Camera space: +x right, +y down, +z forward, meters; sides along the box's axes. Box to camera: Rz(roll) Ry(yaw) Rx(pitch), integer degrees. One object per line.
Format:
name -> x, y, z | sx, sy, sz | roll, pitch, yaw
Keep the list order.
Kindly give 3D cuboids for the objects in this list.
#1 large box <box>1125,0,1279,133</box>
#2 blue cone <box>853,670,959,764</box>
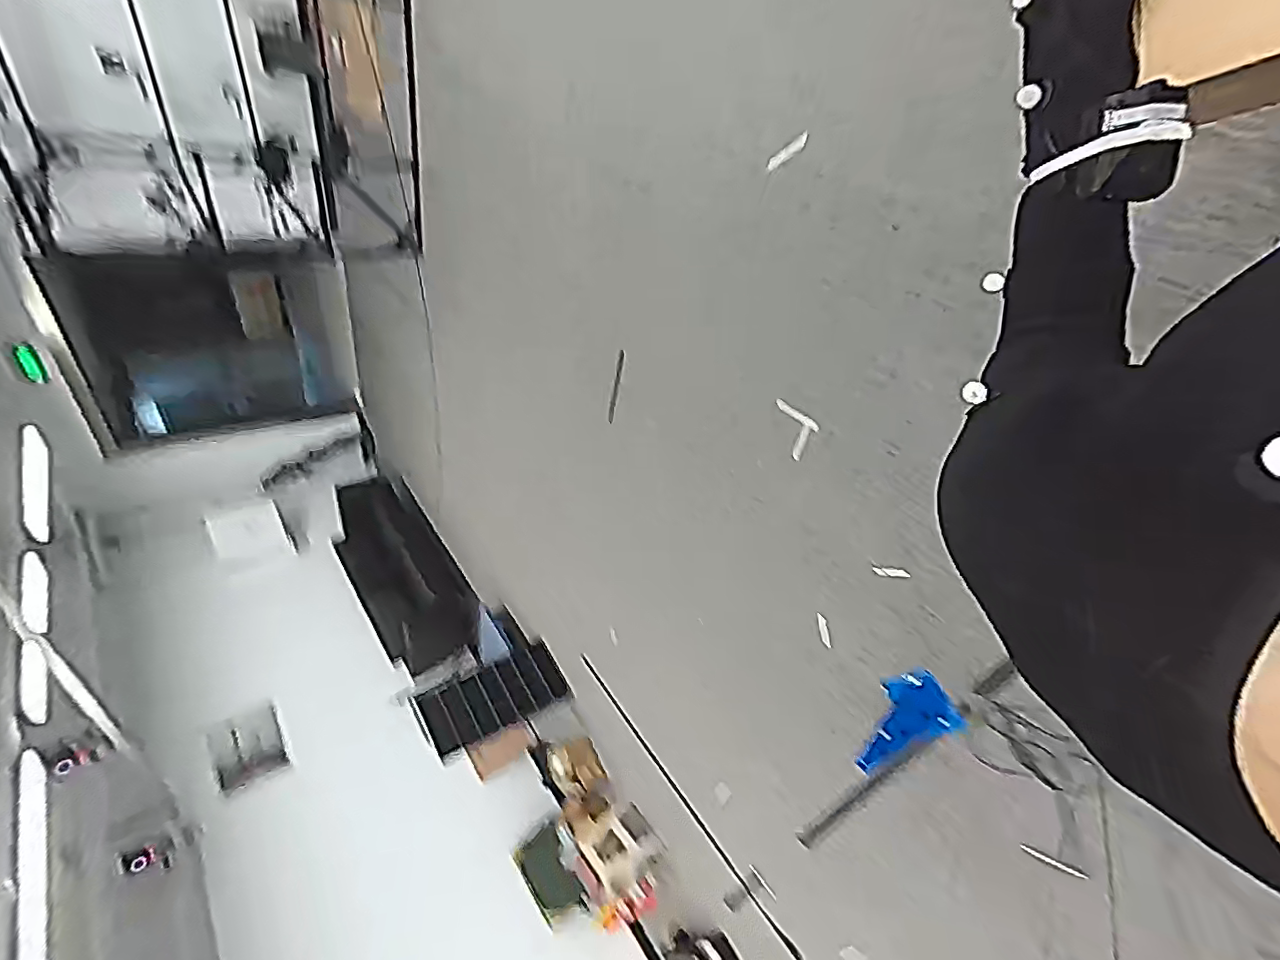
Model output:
large box -> 0.560, -0.460, 0.304 | 0.408, 0.320, 0.320 | 4, 112, 49
blue cone -> 0.781, 0.753, 1.655 | 0.193, 0.380, 0.192 | 61, 144, 17
